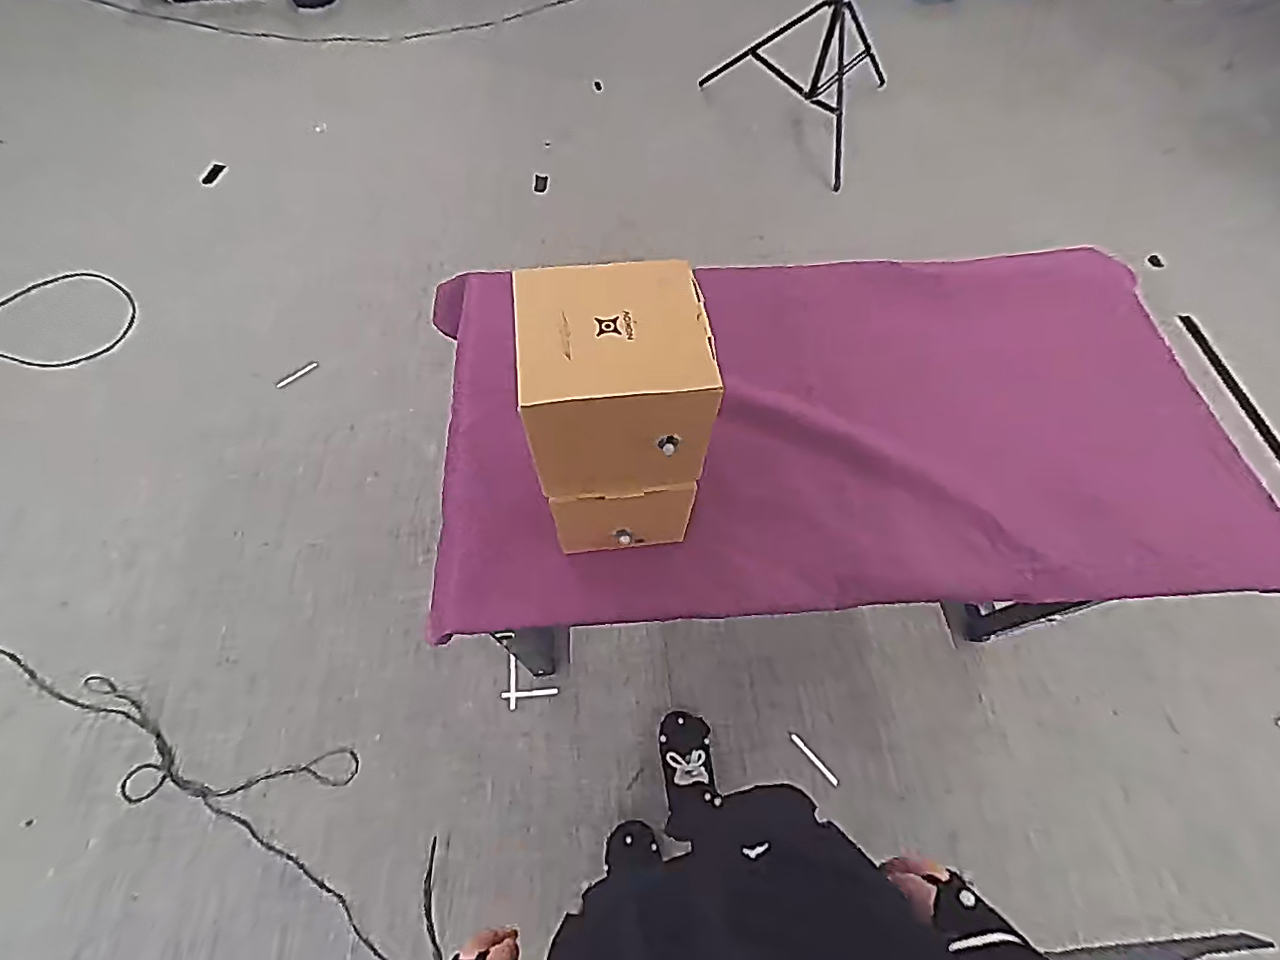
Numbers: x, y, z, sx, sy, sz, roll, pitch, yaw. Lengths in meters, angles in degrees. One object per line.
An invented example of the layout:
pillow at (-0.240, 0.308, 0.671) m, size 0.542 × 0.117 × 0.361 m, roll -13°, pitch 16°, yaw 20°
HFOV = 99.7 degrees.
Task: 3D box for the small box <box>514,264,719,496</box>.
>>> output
small box at (-0.029, -0.097, 0.567) m, size 0.179 × 0.176 × 0.168 m, roll -7°, pitch 61°, yaw -5°

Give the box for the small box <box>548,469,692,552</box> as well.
small box at (-0.033, -0.022, 0.710) m, size 0.168 × 0.176 × 0.179 m, roll -5°, pitch 63°, yaw -5°
